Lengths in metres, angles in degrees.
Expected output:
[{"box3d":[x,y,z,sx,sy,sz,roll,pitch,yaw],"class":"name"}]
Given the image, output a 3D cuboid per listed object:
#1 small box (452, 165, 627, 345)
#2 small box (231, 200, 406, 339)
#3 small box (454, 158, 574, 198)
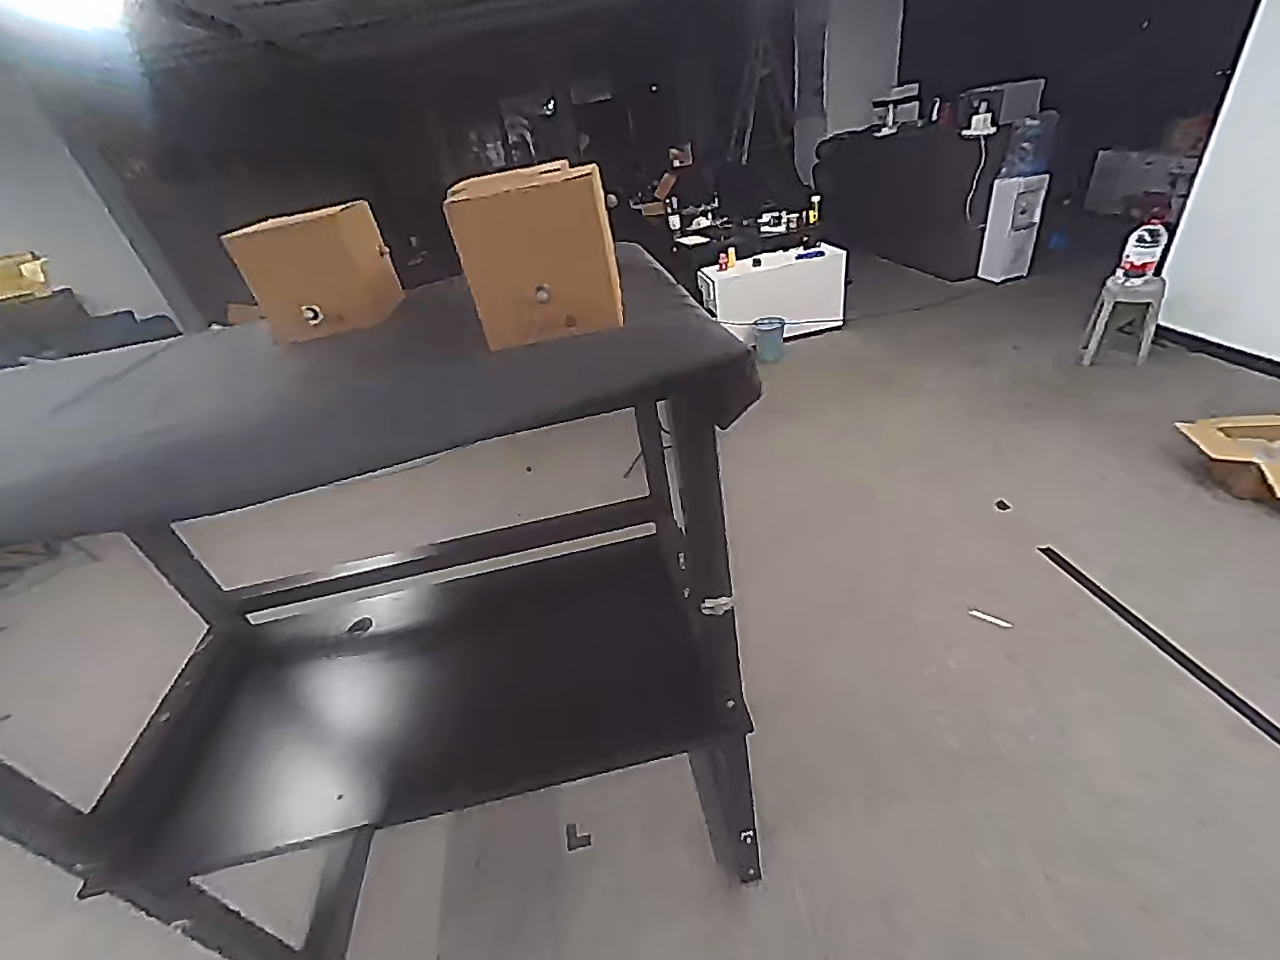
[{"box3d":[-0.112,-0.286,0.686,0.168,0.176,0.179,-9,34,4],"class":"small box"},{"box3d":[-0.505,-0.346,0.887,0.168,0.176,0.179,-13,34,-2],"class":"small box"},{"box3d":[-0.171,-0.393,0.860,0.168,0.176,0.179,-9,35,2],"class":"small box"}]
